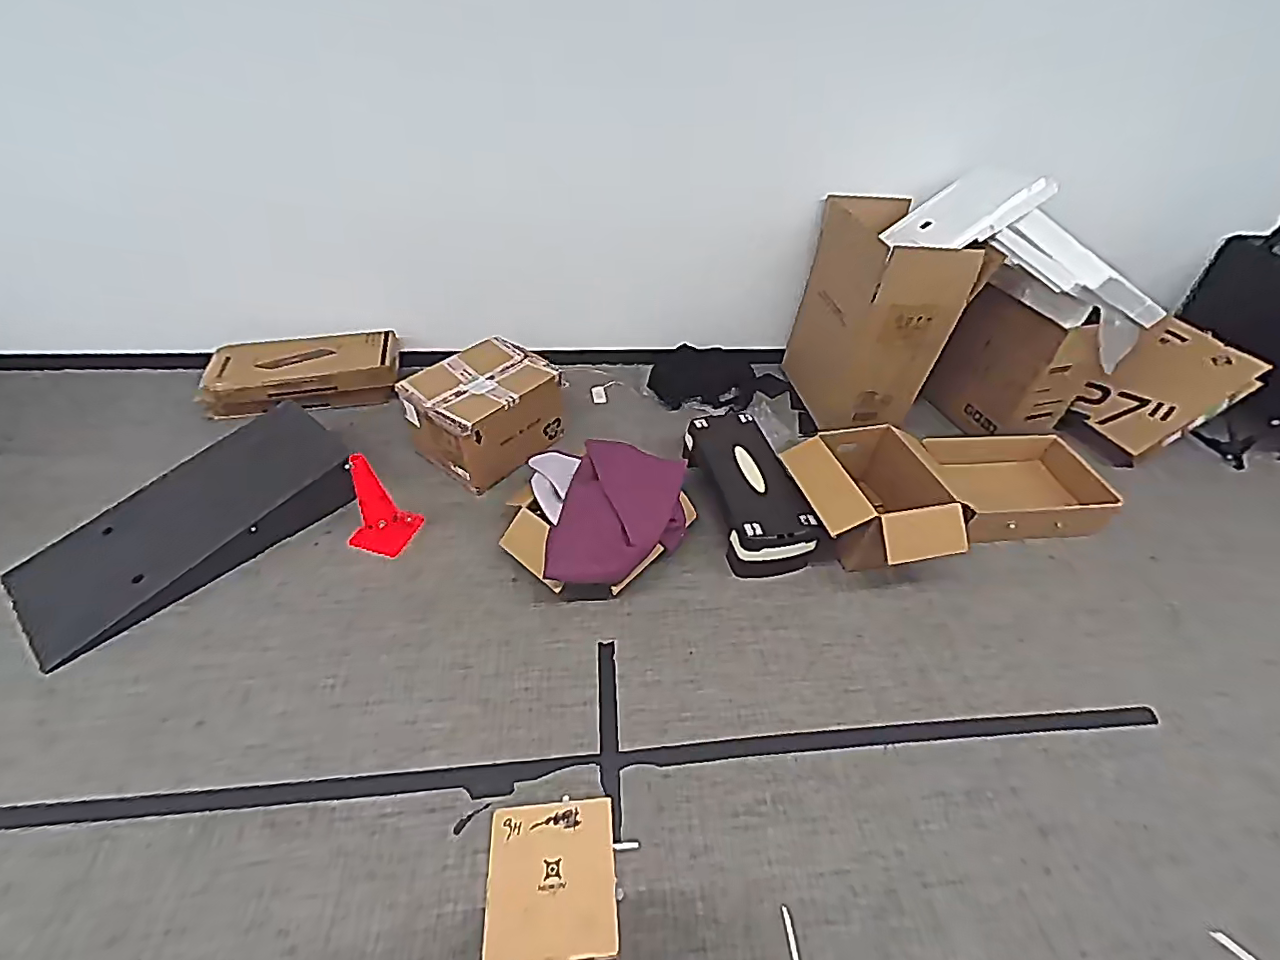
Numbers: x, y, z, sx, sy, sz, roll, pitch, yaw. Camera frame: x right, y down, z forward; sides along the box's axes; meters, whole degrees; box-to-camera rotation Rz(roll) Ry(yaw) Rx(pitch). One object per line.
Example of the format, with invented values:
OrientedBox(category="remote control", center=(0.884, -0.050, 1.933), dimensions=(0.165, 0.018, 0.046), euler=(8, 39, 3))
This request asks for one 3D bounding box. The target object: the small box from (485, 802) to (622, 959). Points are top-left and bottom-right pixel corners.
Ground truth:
OrientedBox(category="small box", center=(-0.112, 0.575, 0.755), dimensions=(0.168, 0.176, 0.179), euler=(-3, 46, -6))
